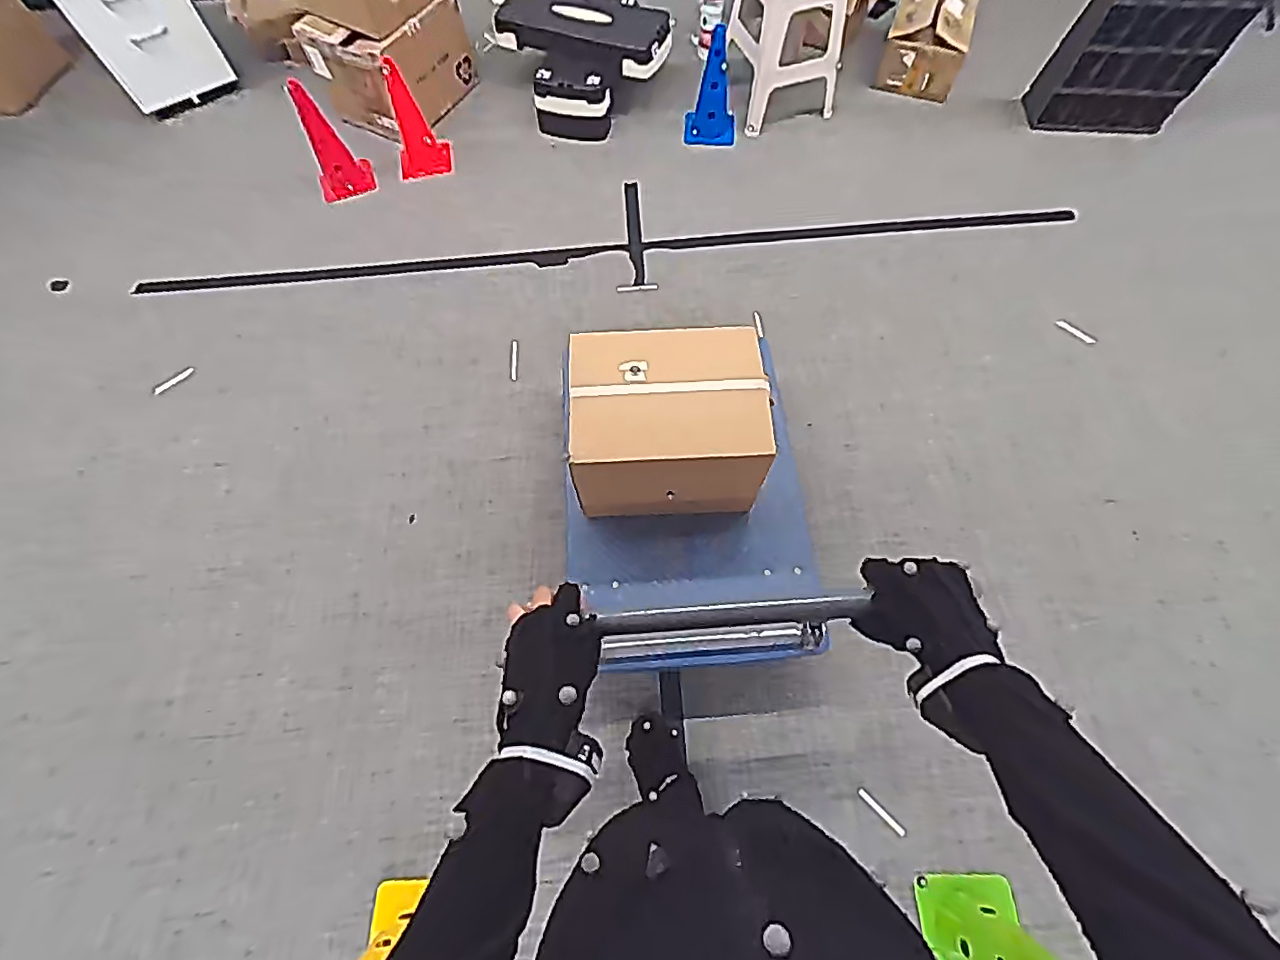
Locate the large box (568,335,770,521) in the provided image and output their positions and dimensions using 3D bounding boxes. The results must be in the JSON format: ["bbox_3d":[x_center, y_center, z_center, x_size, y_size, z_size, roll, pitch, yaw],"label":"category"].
[{"bbox_3d":[0.056,-0.104,1.252,0.408,0.320,0.320,-3,66,1],"label":"large box"}]

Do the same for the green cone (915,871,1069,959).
[{"bbox_3d":[0.678,0.850,0.951,0.202,0.368,0.200,-1,65,0],"label":"green cone"}]
